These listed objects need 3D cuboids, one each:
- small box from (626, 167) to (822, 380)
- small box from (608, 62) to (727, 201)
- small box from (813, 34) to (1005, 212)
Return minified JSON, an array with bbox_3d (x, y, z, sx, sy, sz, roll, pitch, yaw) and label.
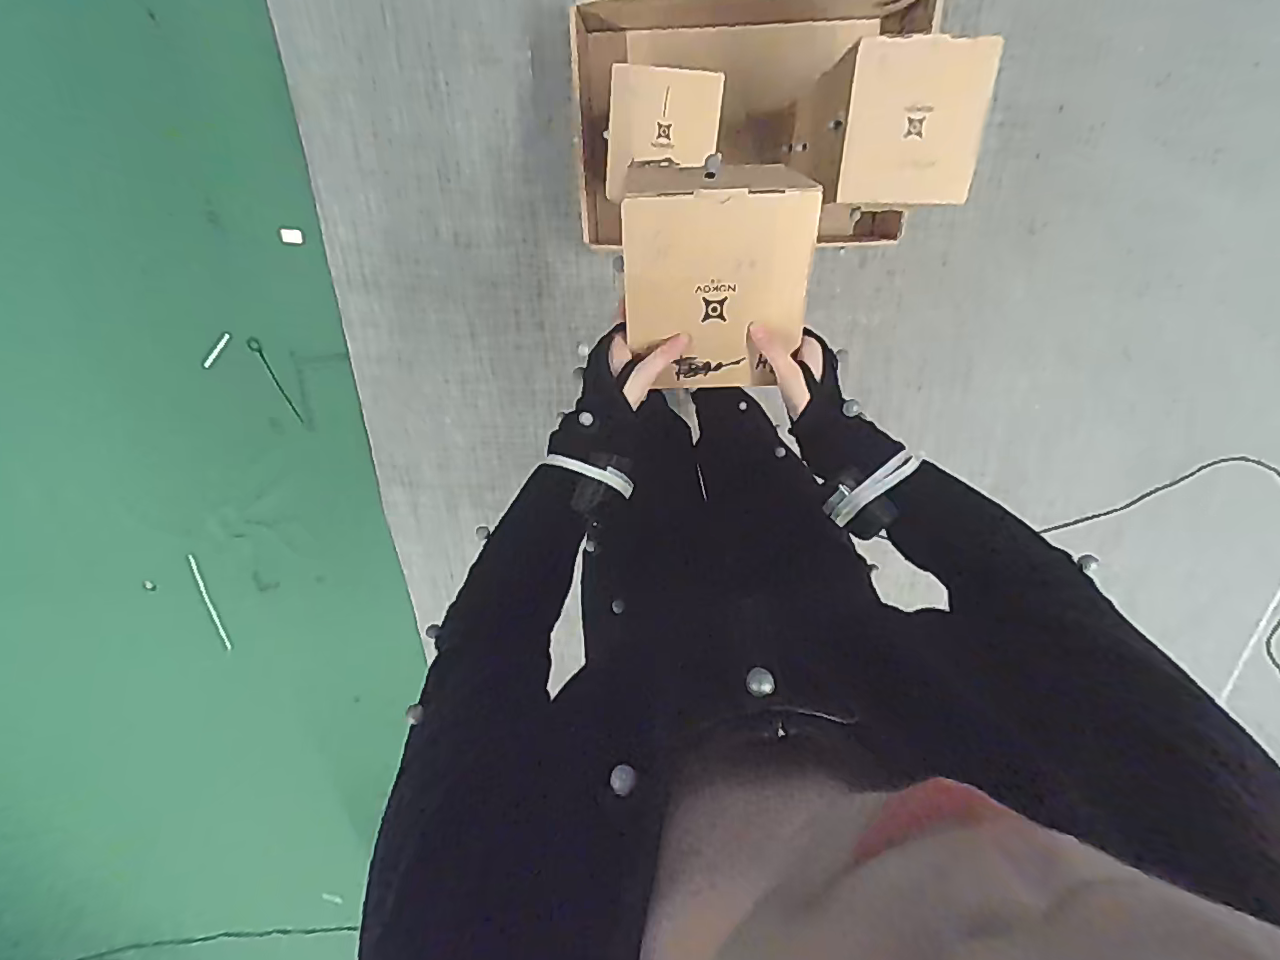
[{"bbox_3d":[0.071,-0.217,0.554,0.168,0.176,0.179,0,125,3],"label":"small box"},{"bbox_3d":[0.042,-0.548,0.885,0.168,0.176,0.179,5,114,0],"label":"small box"},{"bbox_3d":[0.341,-0.465,0.730,0.168,0.176,0.179,3,115,3],"label":"small box"}]
